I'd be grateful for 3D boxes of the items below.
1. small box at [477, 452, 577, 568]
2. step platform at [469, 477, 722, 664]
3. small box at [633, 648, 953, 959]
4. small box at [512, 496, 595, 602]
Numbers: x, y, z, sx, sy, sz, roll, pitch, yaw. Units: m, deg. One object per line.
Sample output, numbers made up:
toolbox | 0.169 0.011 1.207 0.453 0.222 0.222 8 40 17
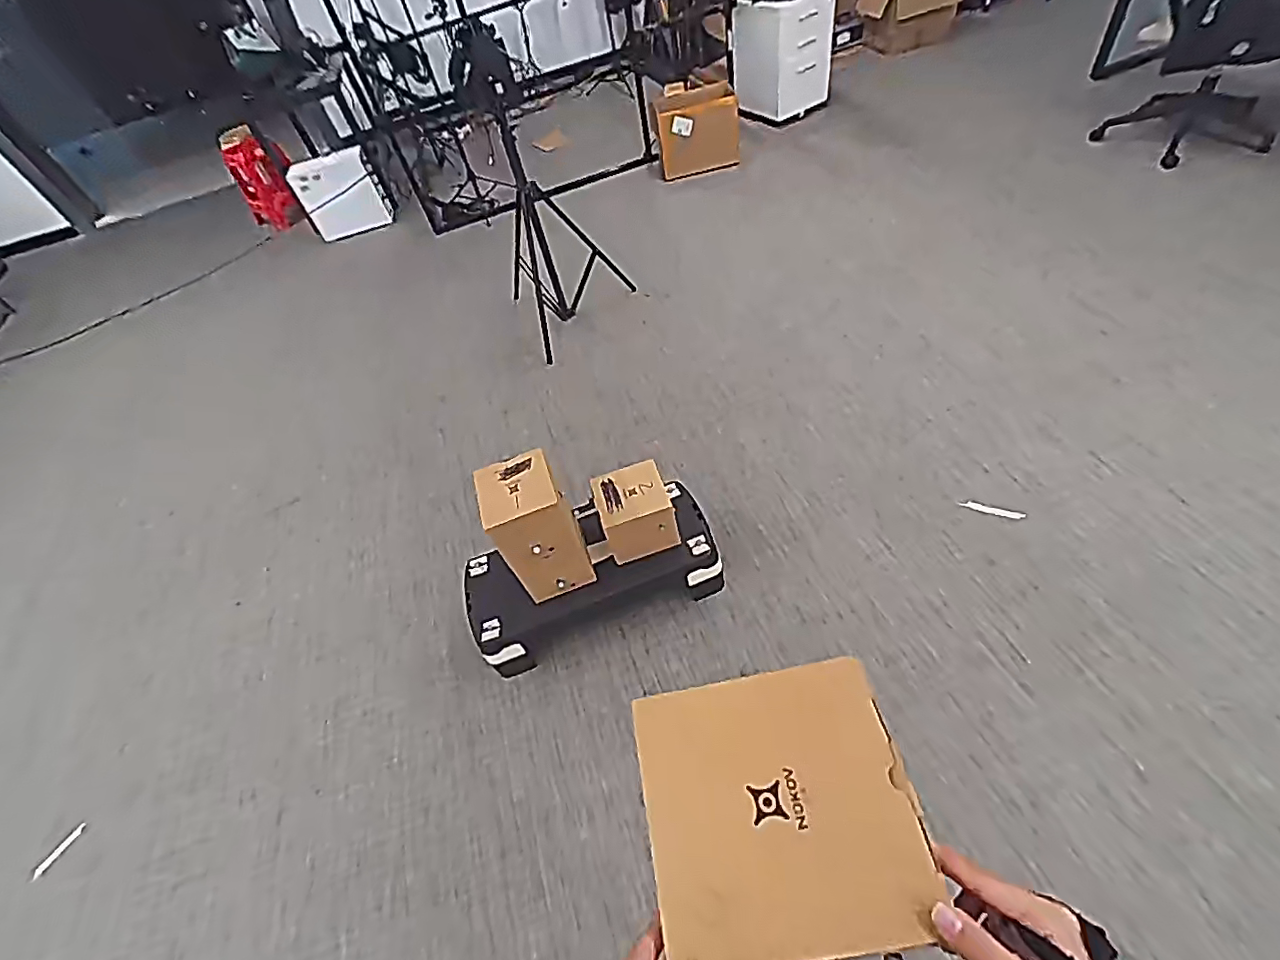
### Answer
small box | -0.257 0.071 1.239 0.168 0.176 0.179 -21 50 -3
step platform | -0.124 0.243 1.512 0.684 0.204 0.286 -22 49 -5
small box | 0.103 0.254 0.429 0.179 0.176 0.168 -13 55 3
small box | -0.226 0.176 1.362 0.168 0.176 0.179 -20 50 -4
